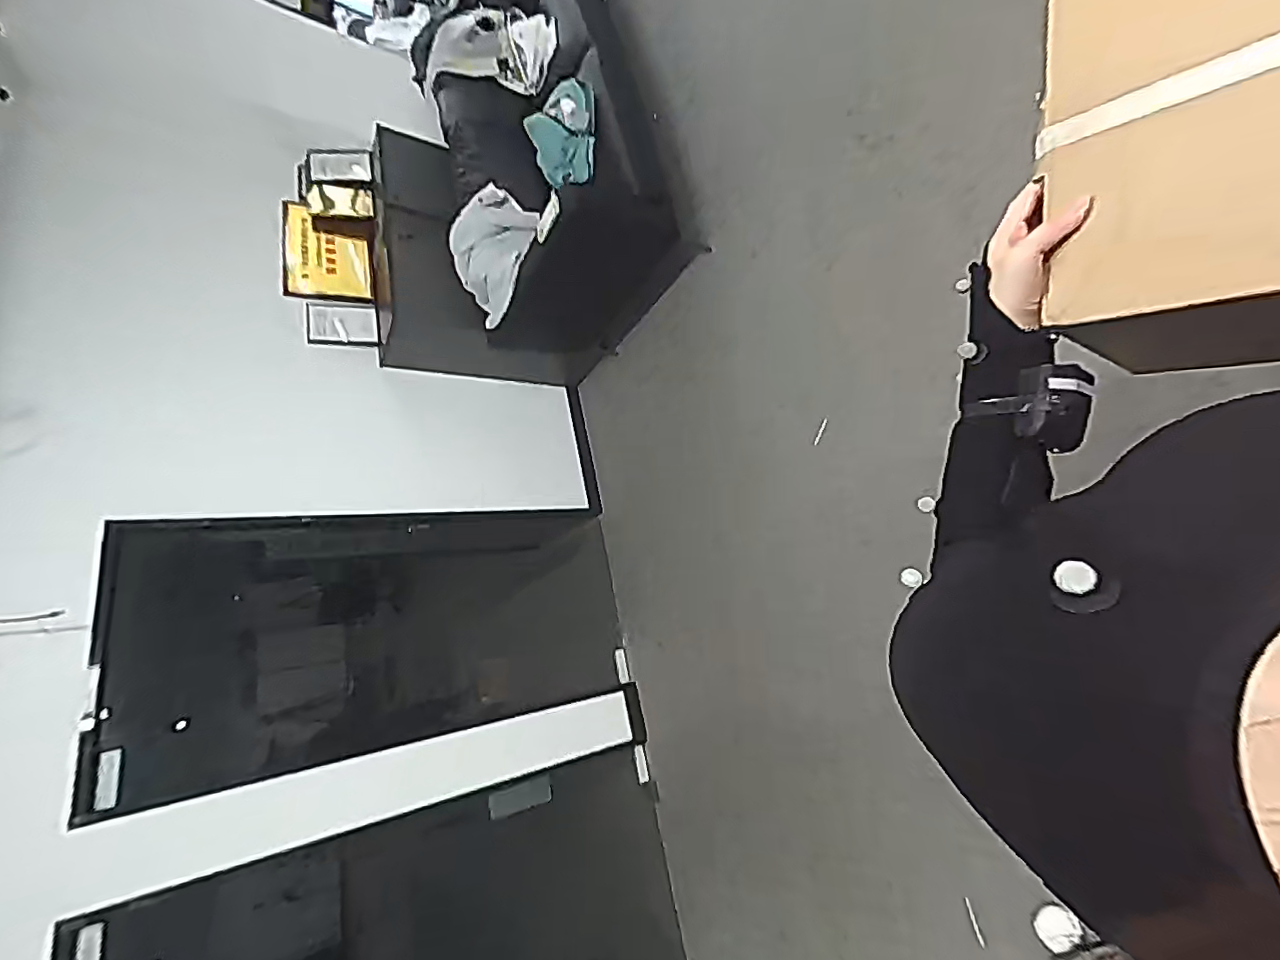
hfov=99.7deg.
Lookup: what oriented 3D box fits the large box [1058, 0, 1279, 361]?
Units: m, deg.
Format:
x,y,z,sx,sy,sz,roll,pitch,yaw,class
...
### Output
x,y,z,sx,sy,sz,roll,pitch,yaw,class
0.583,-0.290,0.385,0.408,0.320,0.320,2,91,51,large box
